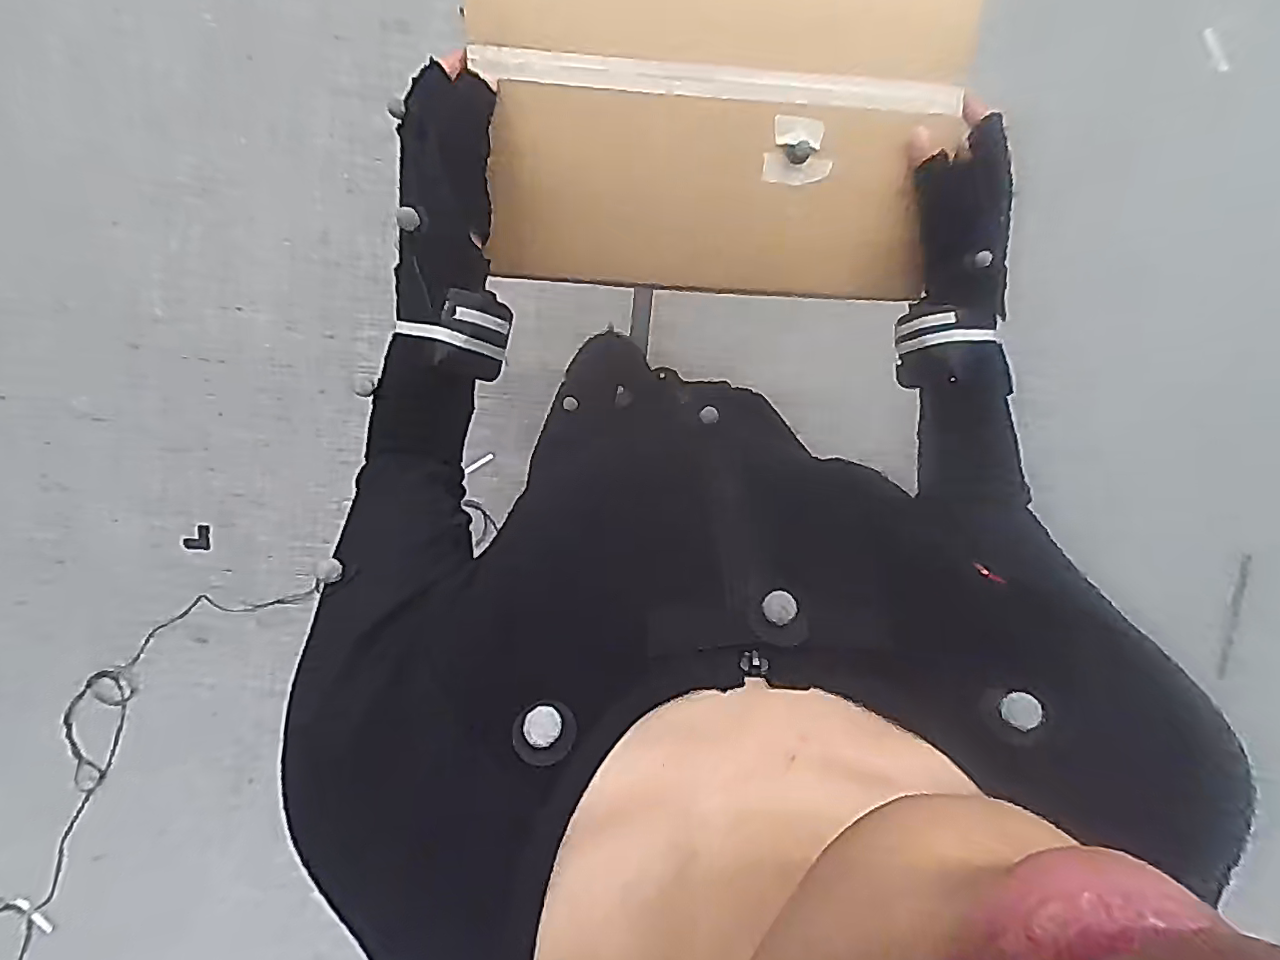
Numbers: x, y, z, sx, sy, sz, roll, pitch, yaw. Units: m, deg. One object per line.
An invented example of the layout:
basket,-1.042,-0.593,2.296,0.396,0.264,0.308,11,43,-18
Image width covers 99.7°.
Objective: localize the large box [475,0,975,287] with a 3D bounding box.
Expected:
large box,0.057,-0.380,0.582,0.408,0.320,0.320,1,110,-5
